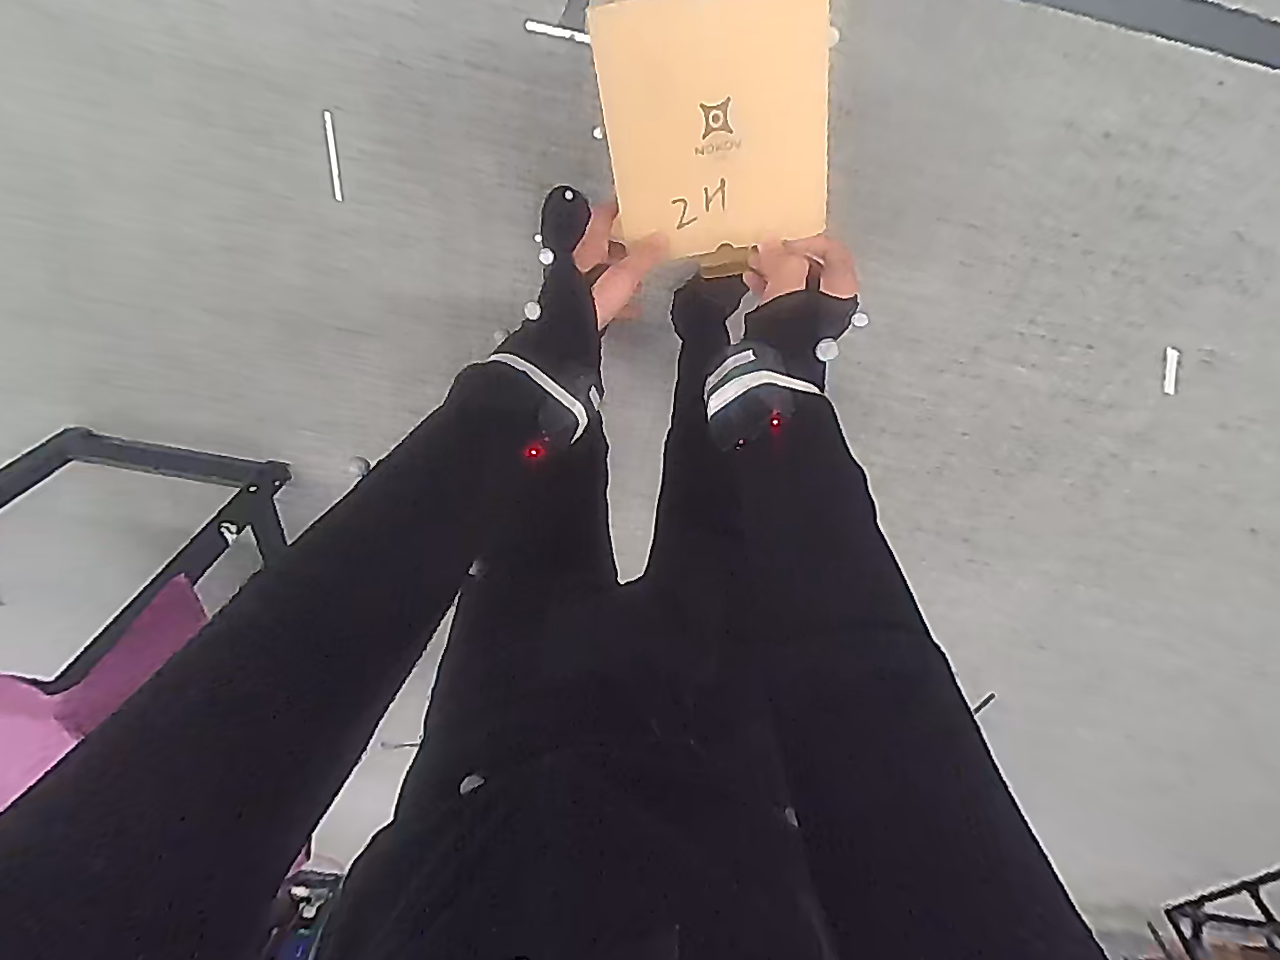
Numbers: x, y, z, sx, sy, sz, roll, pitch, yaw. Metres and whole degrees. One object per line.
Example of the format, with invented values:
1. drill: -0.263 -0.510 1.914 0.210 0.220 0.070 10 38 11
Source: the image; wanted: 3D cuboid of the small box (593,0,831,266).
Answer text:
1. small box: 0.062 -0.312 0.476 0.168 0.176 0.179 -5 129 9
